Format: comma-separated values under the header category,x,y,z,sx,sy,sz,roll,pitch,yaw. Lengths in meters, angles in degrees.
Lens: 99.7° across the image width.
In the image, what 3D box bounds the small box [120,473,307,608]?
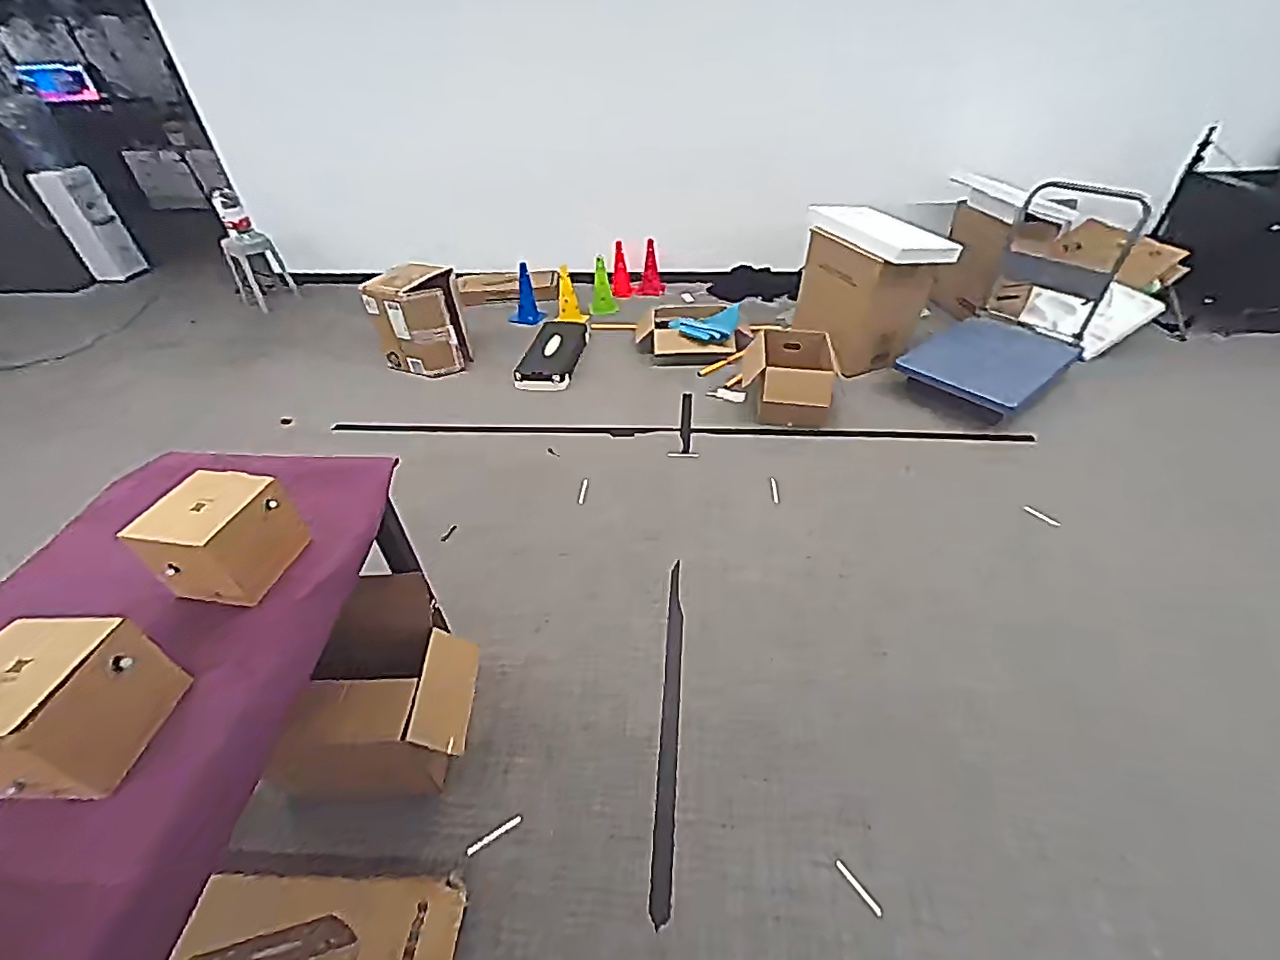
category,x,y,z,sx,sy,sz,roll,pitch,yaw
small box,-0.753,0.110,0.982,0.168,0.176,0.179,5,40,8

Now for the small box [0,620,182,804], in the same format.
category,x,y,z,sx,sy,sz,roll,pitch,yaw
small box,-0.789,0.314,0.740,0.168,0.176,0.179,-2,40,4
